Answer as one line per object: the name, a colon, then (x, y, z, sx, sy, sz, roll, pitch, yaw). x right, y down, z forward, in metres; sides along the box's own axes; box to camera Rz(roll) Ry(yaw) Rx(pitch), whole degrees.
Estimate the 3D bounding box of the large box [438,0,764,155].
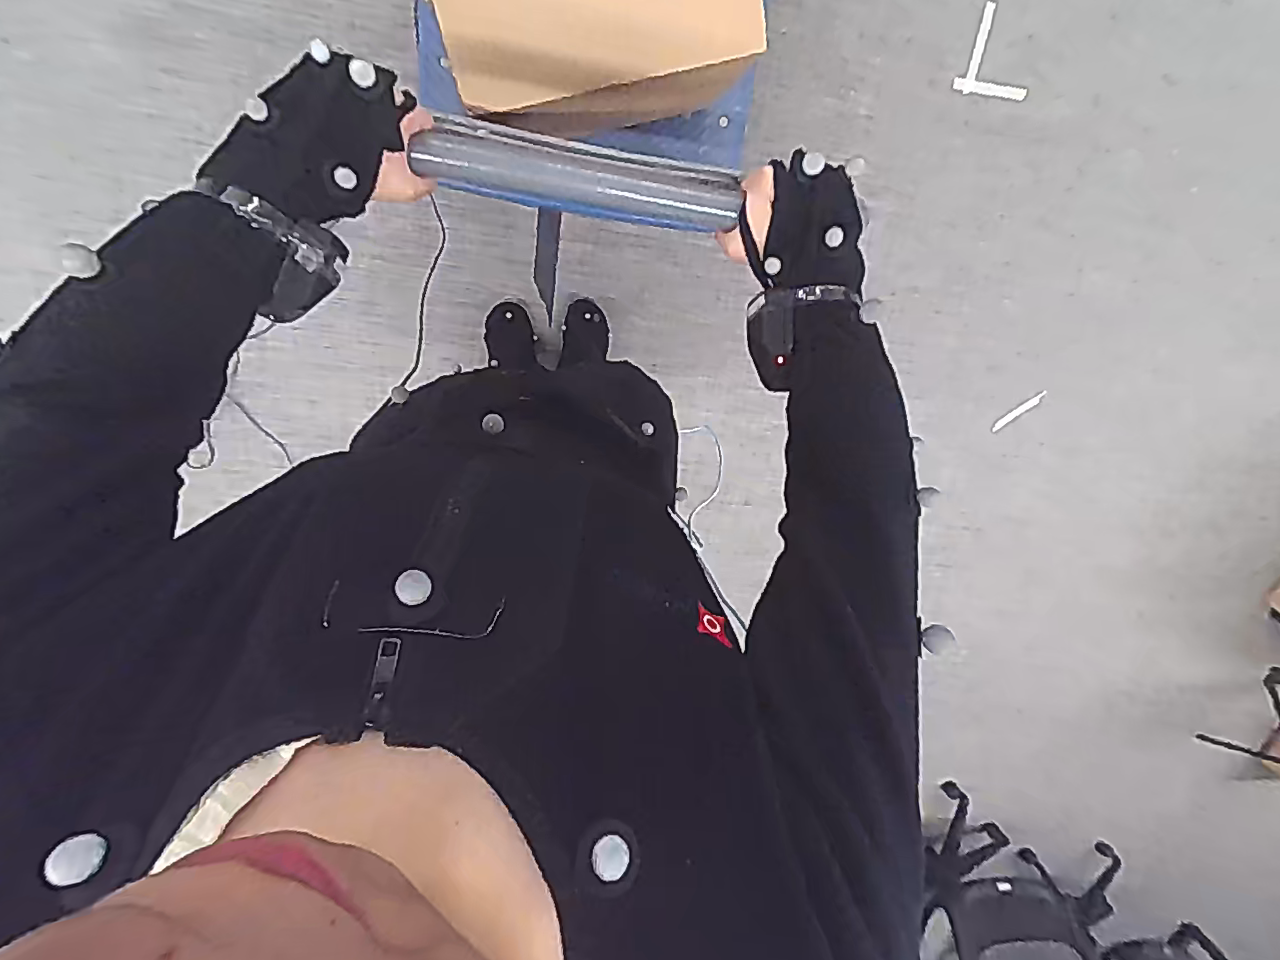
large box: (-0.081, -0.712, 0.781, 0.408, 0.320, 0.320, -15, 115, -3)
